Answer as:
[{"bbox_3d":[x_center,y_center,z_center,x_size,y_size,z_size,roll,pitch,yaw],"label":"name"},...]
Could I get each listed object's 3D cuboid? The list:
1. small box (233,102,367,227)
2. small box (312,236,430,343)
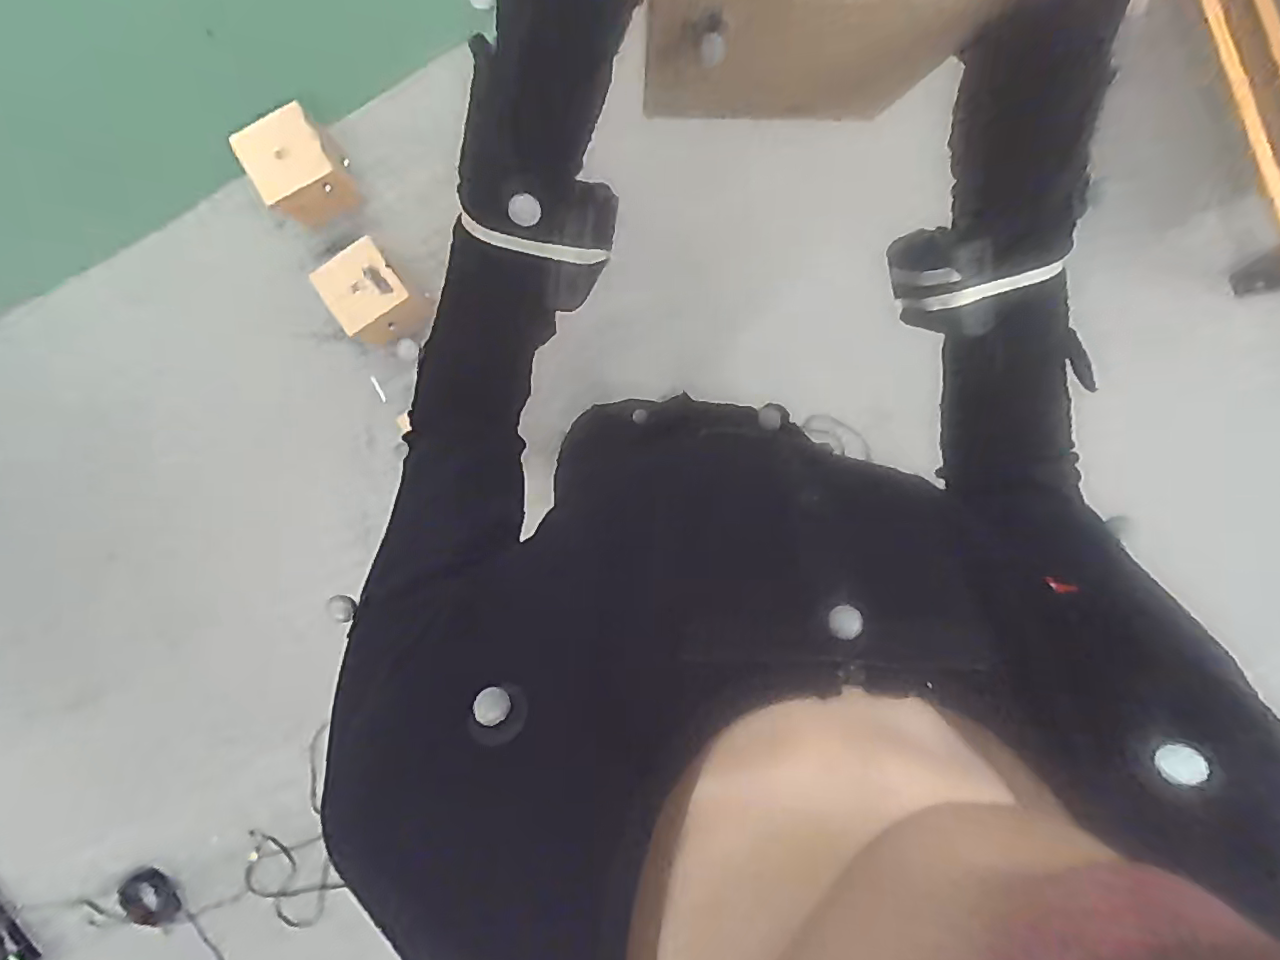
[{"bbox_3d":[-0.797,-0.738,1.288,0.179,0.176,0.168,-28,97,2],"label":"small box"},{"bbox_3d":[-0.641,-0.456,1.323,0.179,0.176,0.168,-33,96,3],"label":"small box"}]
